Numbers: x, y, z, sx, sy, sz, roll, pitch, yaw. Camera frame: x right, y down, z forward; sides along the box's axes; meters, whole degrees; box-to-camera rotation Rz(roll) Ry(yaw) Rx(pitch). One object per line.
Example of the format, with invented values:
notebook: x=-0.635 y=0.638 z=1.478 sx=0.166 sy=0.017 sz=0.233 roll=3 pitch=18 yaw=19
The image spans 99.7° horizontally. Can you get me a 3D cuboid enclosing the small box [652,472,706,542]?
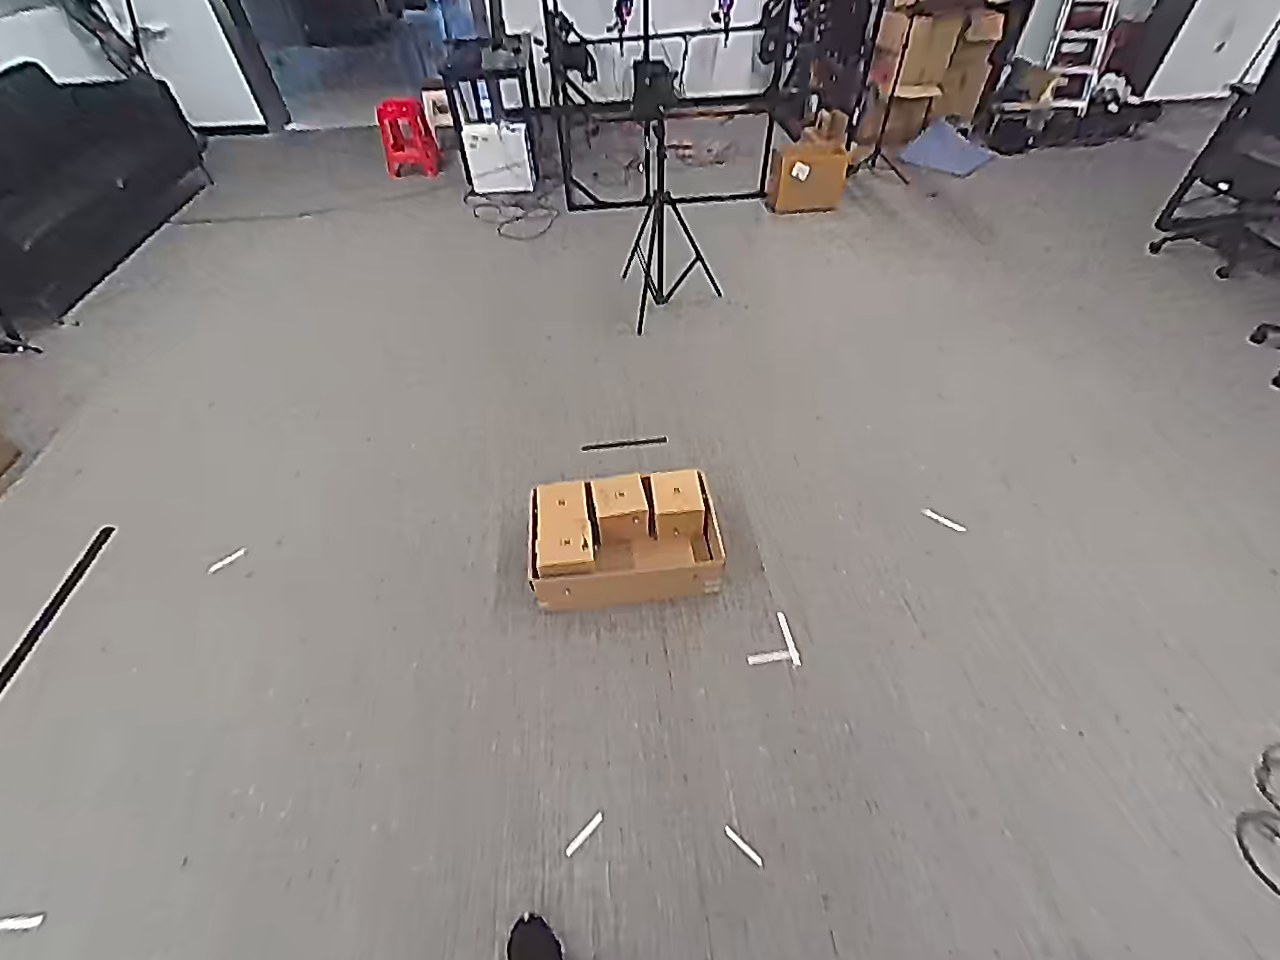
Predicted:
small box: x=0.131 y=0.097 z=1.894 sx=0.168 sy=0.176 sz=0.179 roll=-6 pitch=51 yaw=-2
